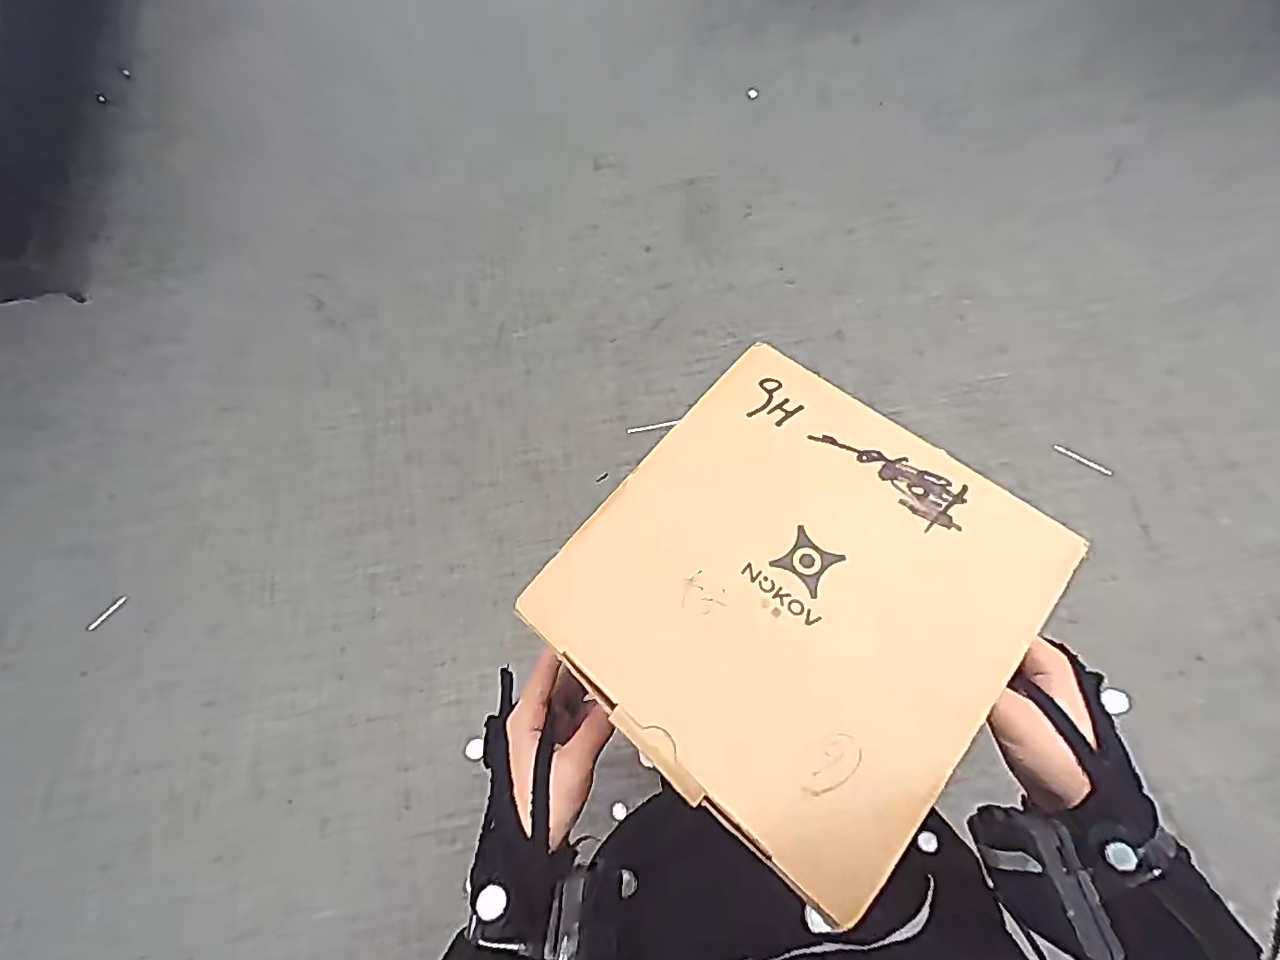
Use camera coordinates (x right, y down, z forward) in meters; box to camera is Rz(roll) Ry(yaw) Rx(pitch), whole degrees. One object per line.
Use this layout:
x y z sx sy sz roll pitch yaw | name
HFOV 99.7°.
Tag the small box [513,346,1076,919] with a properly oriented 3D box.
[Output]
0.069 0.071 0.297 0.168 0.176 0.179 38 77 20 | small box
